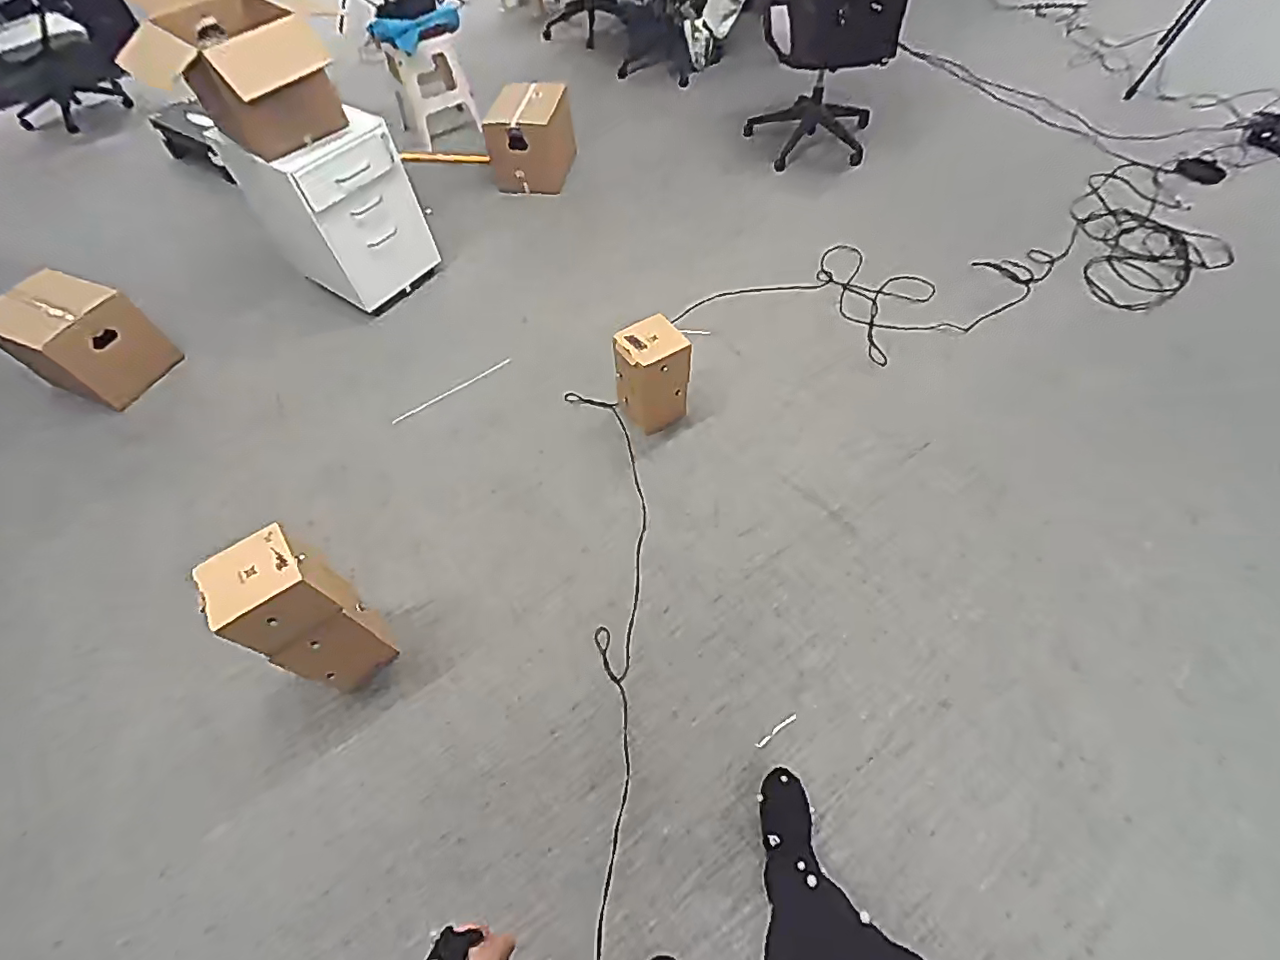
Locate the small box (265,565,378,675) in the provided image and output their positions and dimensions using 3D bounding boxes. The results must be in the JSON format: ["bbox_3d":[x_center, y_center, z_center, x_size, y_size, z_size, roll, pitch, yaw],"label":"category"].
[{"bbox_3d":[-0.759,0.329,1.271,0.179,0.176,0.168,-33,61,-18],"label":"small box"}]

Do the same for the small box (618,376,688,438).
[{"bbox_3d":[0.047,-0.272,1.798,0.179,0.176,0.168,-30,60,-16],"label":"small box"}]

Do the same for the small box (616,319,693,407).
[{"bbox_3d":[0.045,-0.355,1.656,0.179,0.176,0.168,-29,60,-16],"label":"small box"}]

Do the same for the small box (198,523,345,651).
[{"bbox_3d":[-0.767,0.231,1.139,0.179,0.176,0.168,-34,61,-17],"label":"small box"}]
